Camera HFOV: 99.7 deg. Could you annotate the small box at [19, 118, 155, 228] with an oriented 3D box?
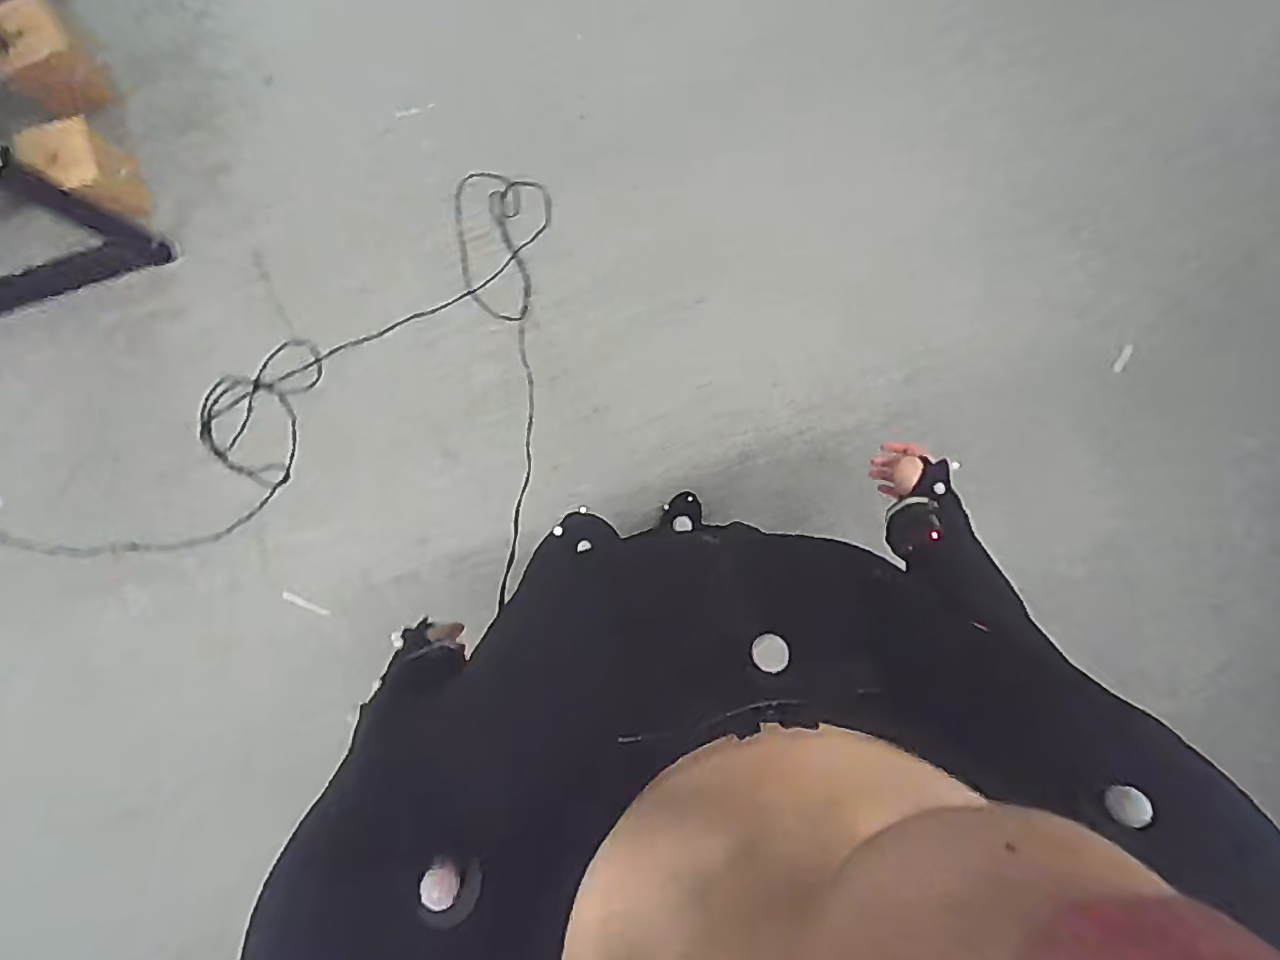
[{"bbox_3d":[-1.409,-0.784,1.395,0.179,0.176,0.168,-15,89,-2],"label":"small box"}]
